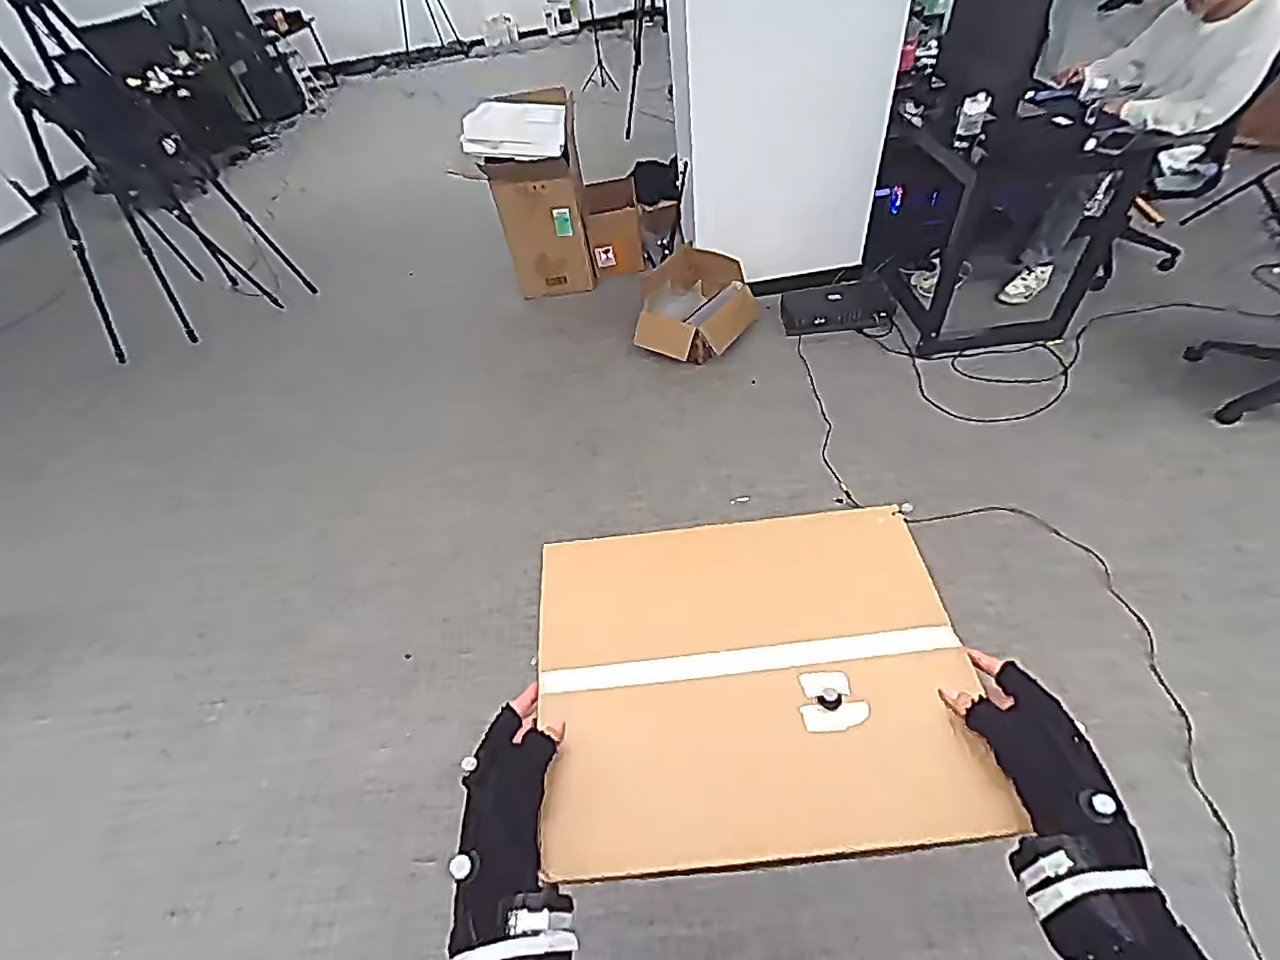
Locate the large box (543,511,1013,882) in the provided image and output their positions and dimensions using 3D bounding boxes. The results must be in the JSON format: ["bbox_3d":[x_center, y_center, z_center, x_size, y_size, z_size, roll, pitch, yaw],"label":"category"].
[{"bbox_3d":[0.112,0.271,0.655,0.408,0.320,0.320,-7,53,1],"label":"large box"}]
